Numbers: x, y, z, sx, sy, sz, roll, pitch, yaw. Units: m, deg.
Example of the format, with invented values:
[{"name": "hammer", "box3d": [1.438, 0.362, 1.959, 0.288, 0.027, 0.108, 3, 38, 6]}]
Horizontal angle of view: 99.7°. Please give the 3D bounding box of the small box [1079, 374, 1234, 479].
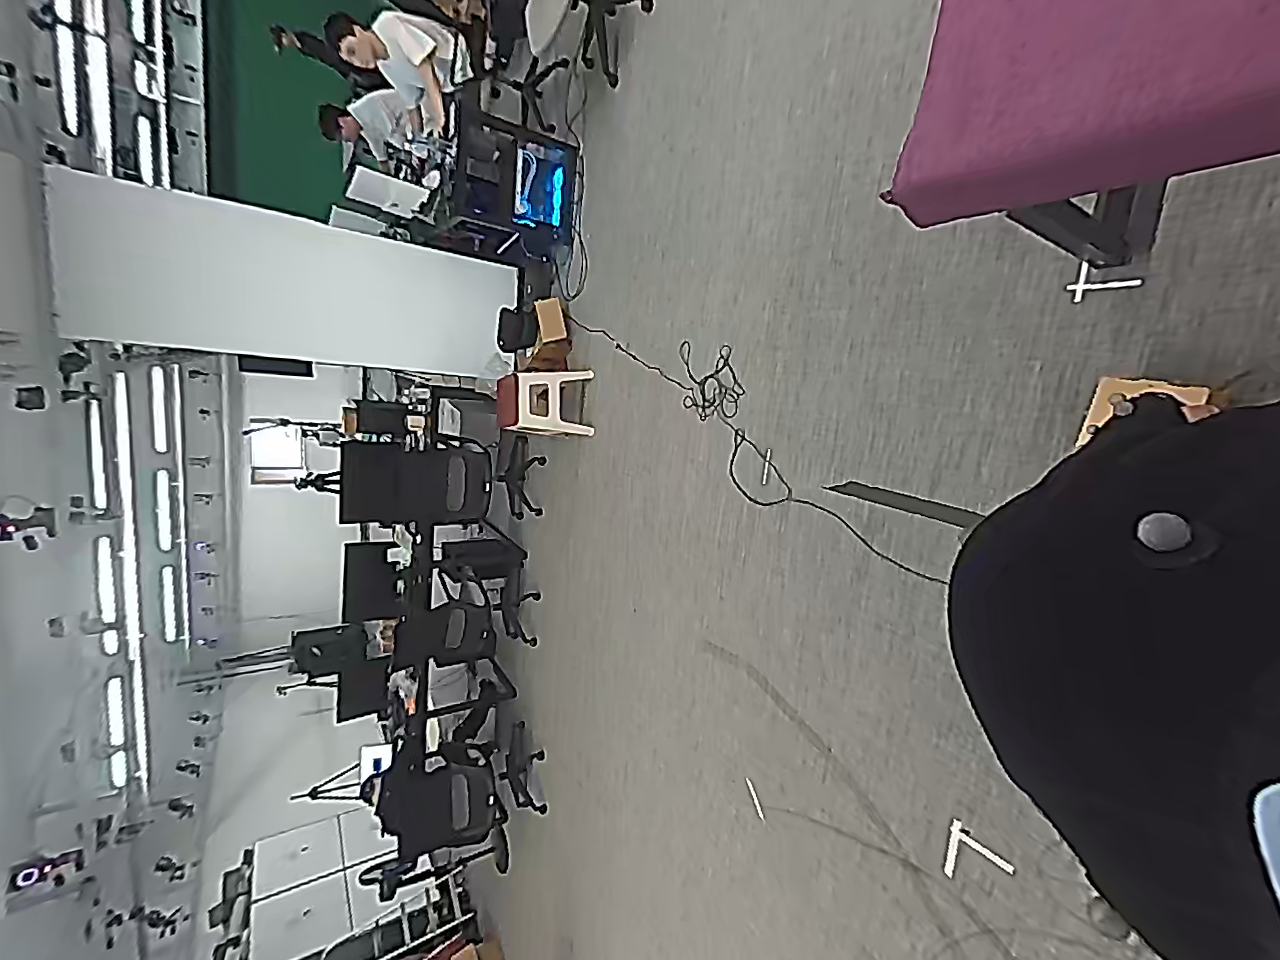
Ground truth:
[{"name": "small box", "box3d": [1.041, -0.110, 1.090, 0.168, 0.176, 0.179, 29, 115, 52]}]
